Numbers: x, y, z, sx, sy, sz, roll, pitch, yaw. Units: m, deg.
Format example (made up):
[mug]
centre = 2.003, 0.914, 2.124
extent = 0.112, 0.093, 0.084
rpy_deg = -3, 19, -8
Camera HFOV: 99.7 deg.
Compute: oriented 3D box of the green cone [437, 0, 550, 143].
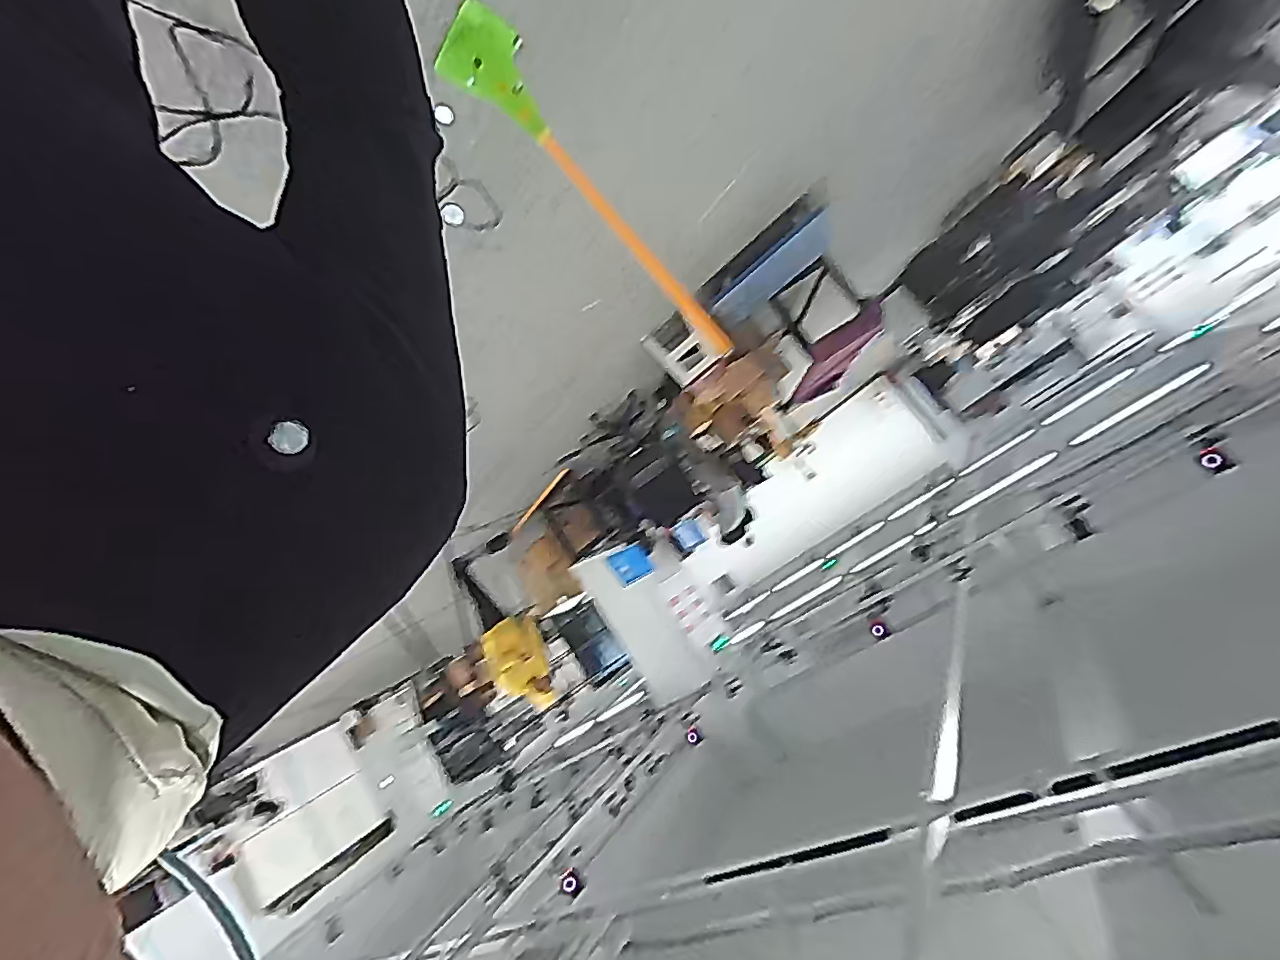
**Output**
[green cone]
centre = -0.351, -1.061, 1.464
extent = 0.202, 0.368, 0.200
rpy_deg = -40, 167, 32
